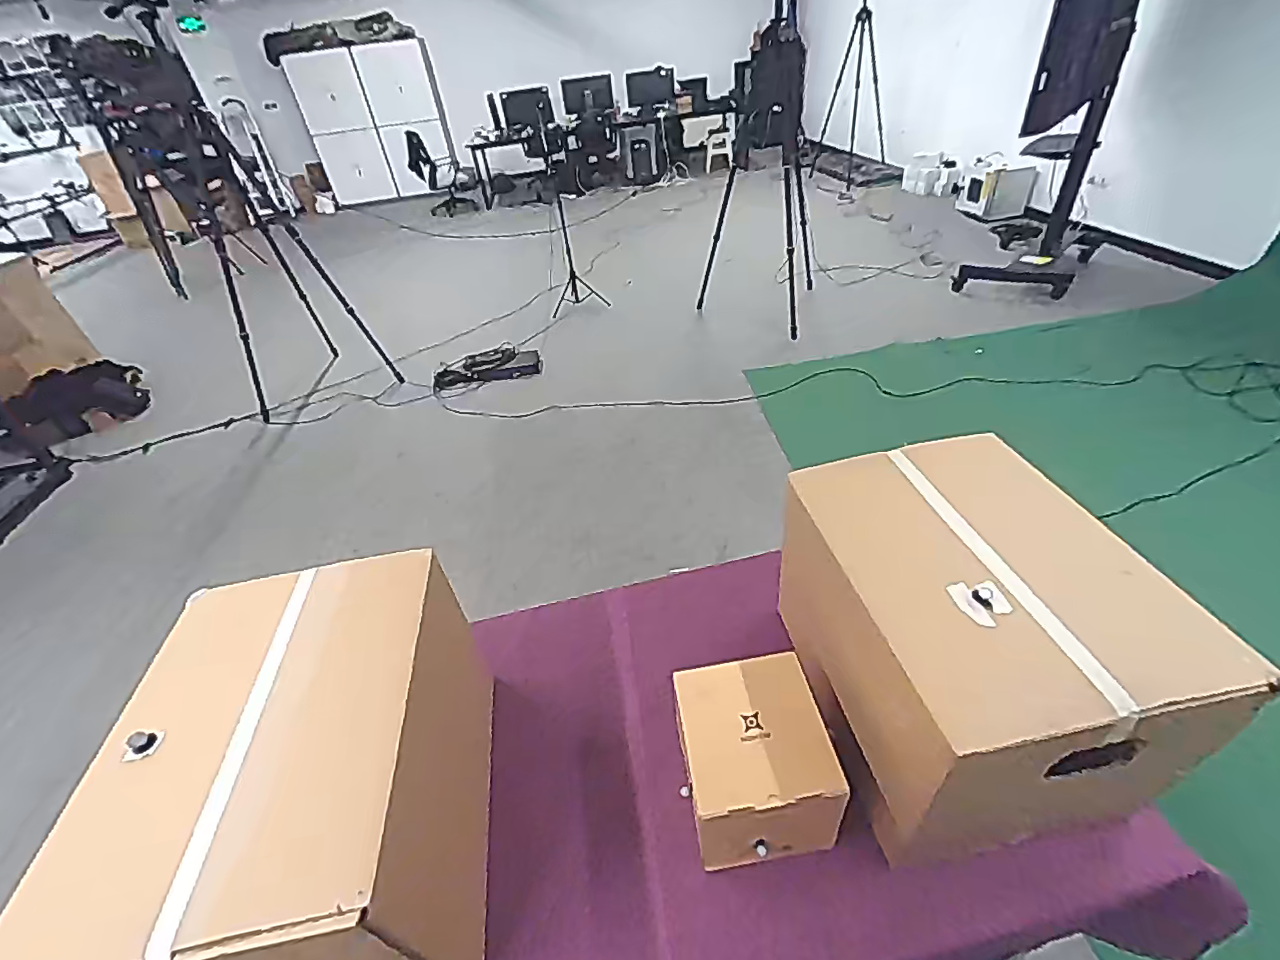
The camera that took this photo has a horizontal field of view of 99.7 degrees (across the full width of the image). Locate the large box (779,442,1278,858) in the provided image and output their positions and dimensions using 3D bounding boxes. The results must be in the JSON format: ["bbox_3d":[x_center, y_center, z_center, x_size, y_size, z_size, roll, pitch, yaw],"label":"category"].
[{"bbox_3d":[0.412,0.204,0.725,0.320,0.320,0.408,-10,40,-3],"label":"large box"}]
